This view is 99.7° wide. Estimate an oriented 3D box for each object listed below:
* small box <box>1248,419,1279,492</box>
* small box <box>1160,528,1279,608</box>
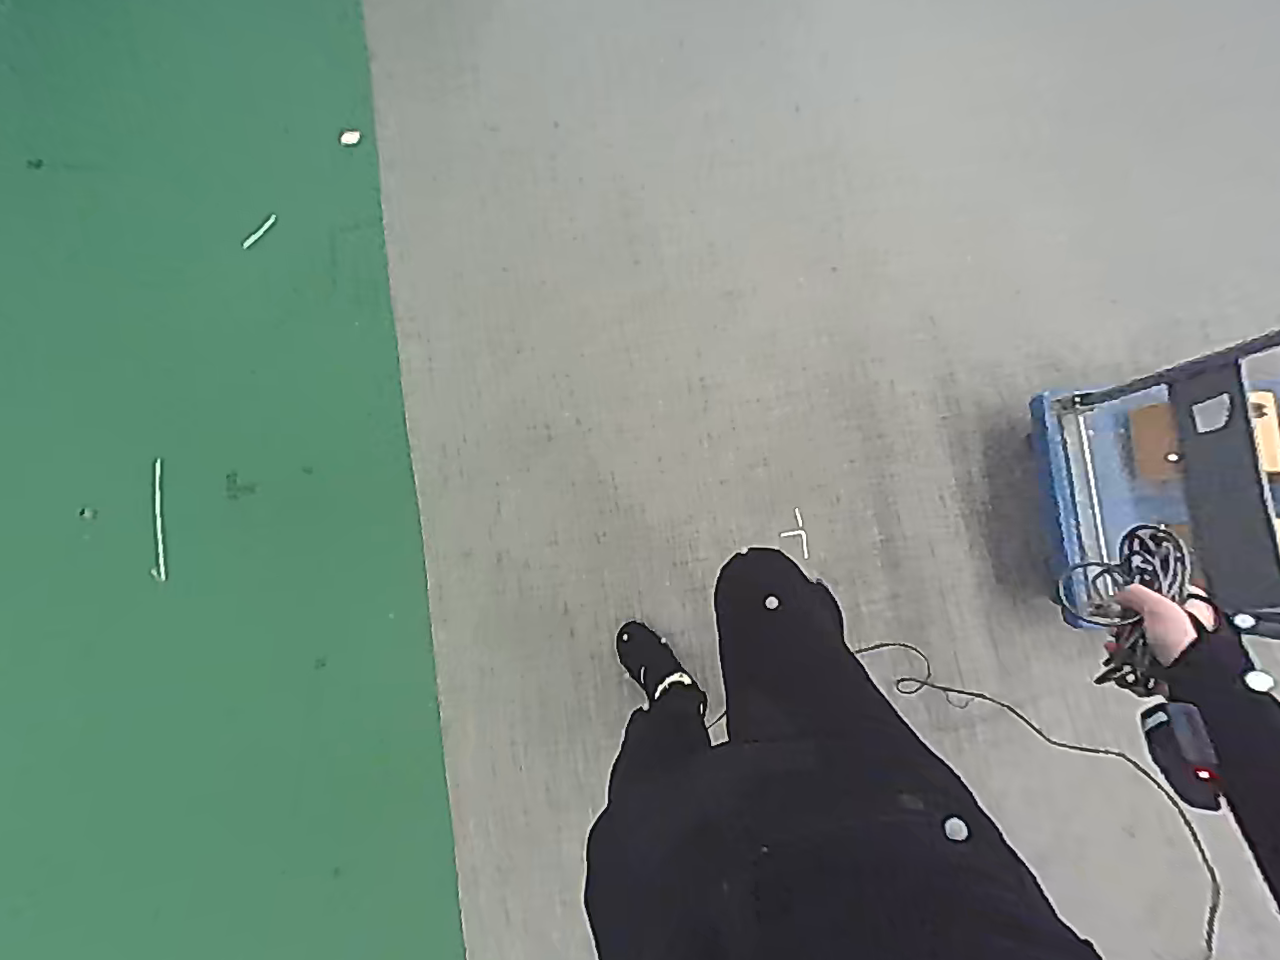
[{"bbox_3d":[1.551,-0.068,1.225,0.179,0.176,0.168,-6,83,-2],"label":"small box"},{"bbox_3d":[1.311,0.189,1.186,0.179,0.176,0.168,-1,82,-1],"label":"small box"}]
